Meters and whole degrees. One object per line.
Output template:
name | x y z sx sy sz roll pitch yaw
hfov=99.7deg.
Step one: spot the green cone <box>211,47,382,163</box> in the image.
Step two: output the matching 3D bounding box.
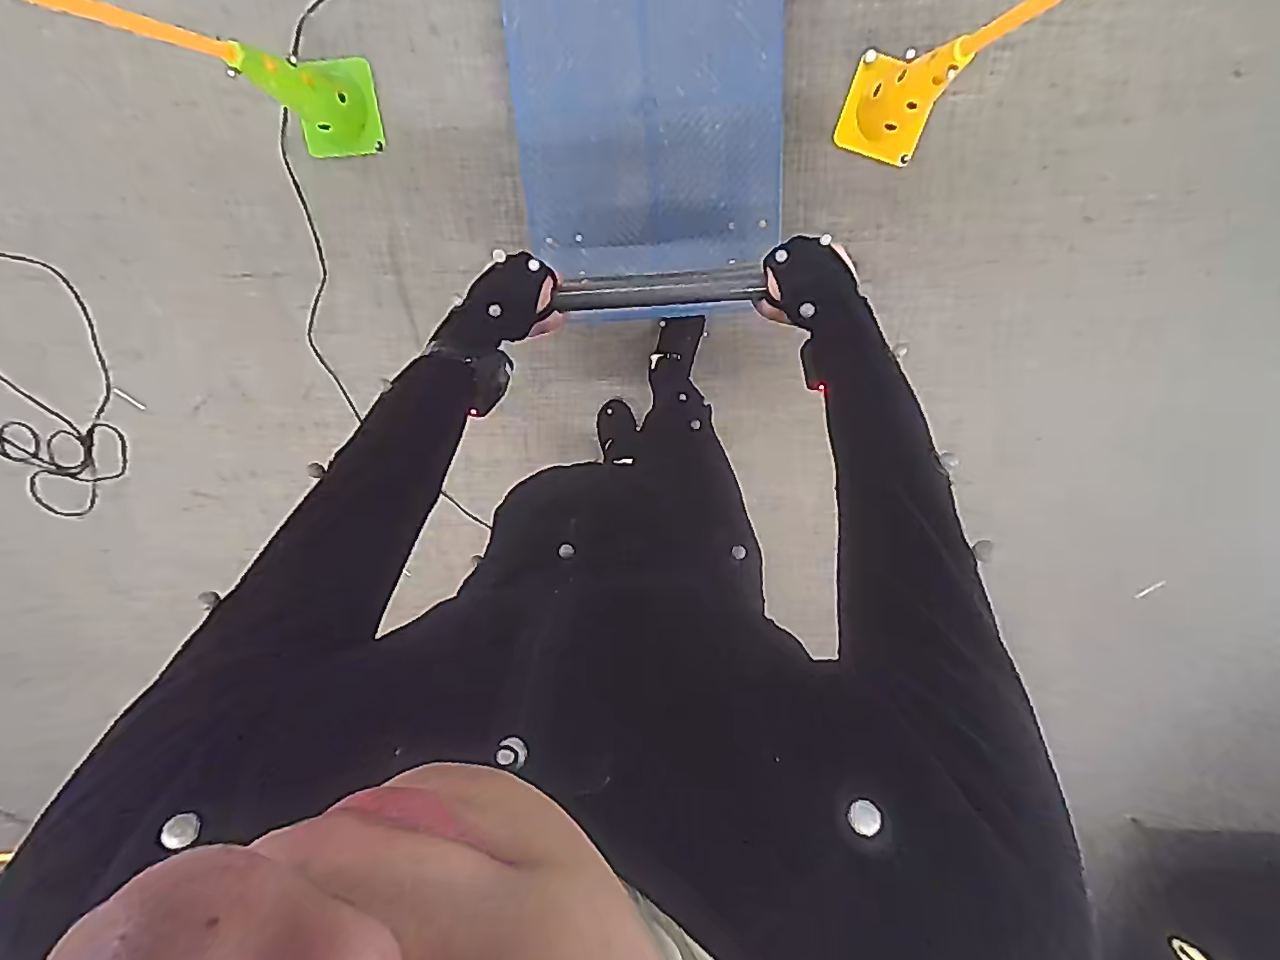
green cone | -0.759 -0.844 1.168 0.202 0.368 0.200 -3 109 5
